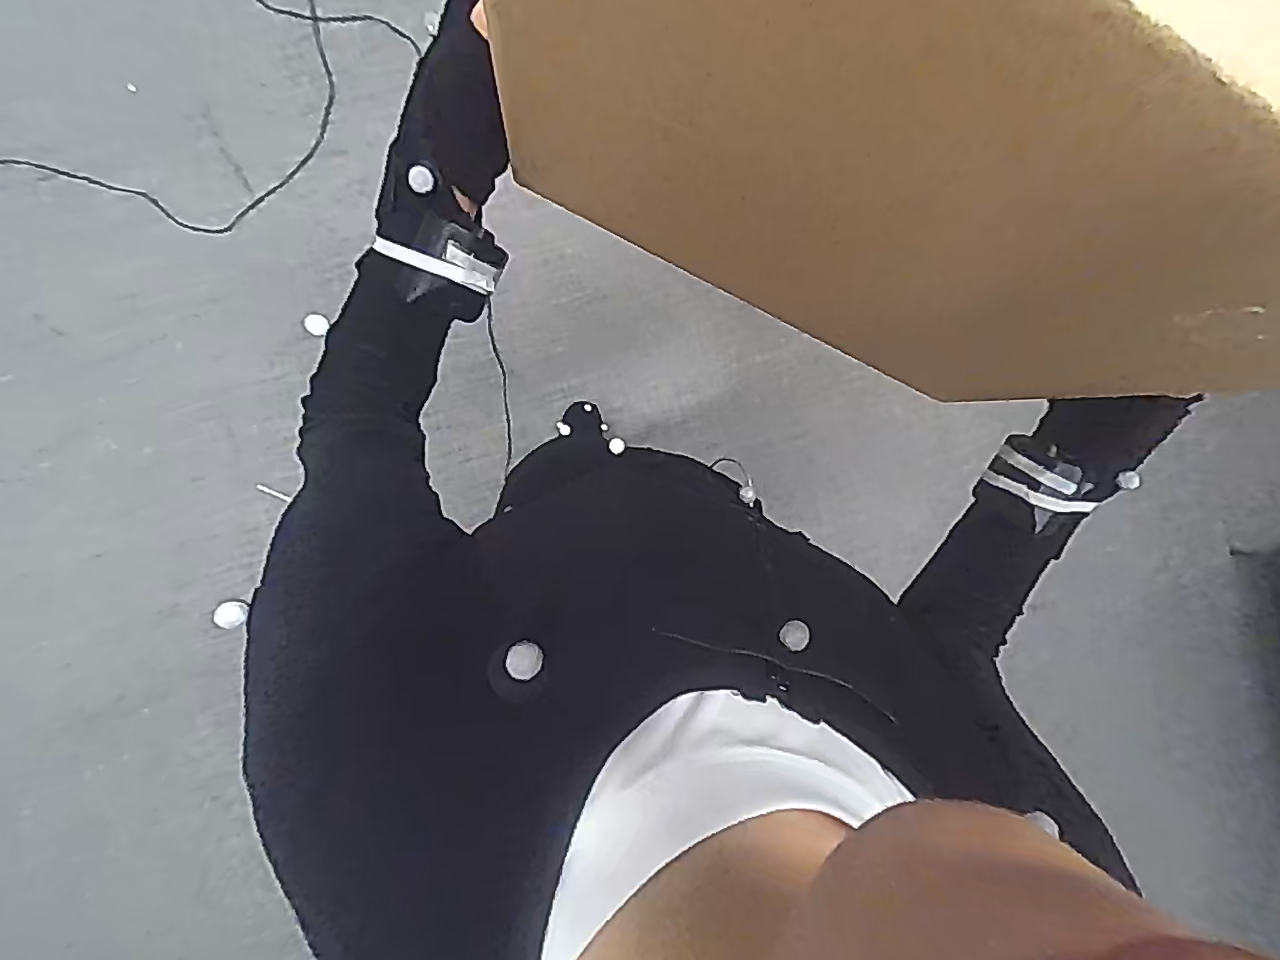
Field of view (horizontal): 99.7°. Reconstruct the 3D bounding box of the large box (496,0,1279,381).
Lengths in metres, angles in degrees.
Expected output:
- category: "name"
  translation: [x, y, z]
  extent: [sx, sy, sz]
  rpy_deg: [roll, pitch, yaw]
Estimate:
- category: "large box"
  translation: [0.167, -0.278, 0.284]
  extent: [0.408, 0.320, 0.320]
  rpy_deg: [22, 93, -12]
